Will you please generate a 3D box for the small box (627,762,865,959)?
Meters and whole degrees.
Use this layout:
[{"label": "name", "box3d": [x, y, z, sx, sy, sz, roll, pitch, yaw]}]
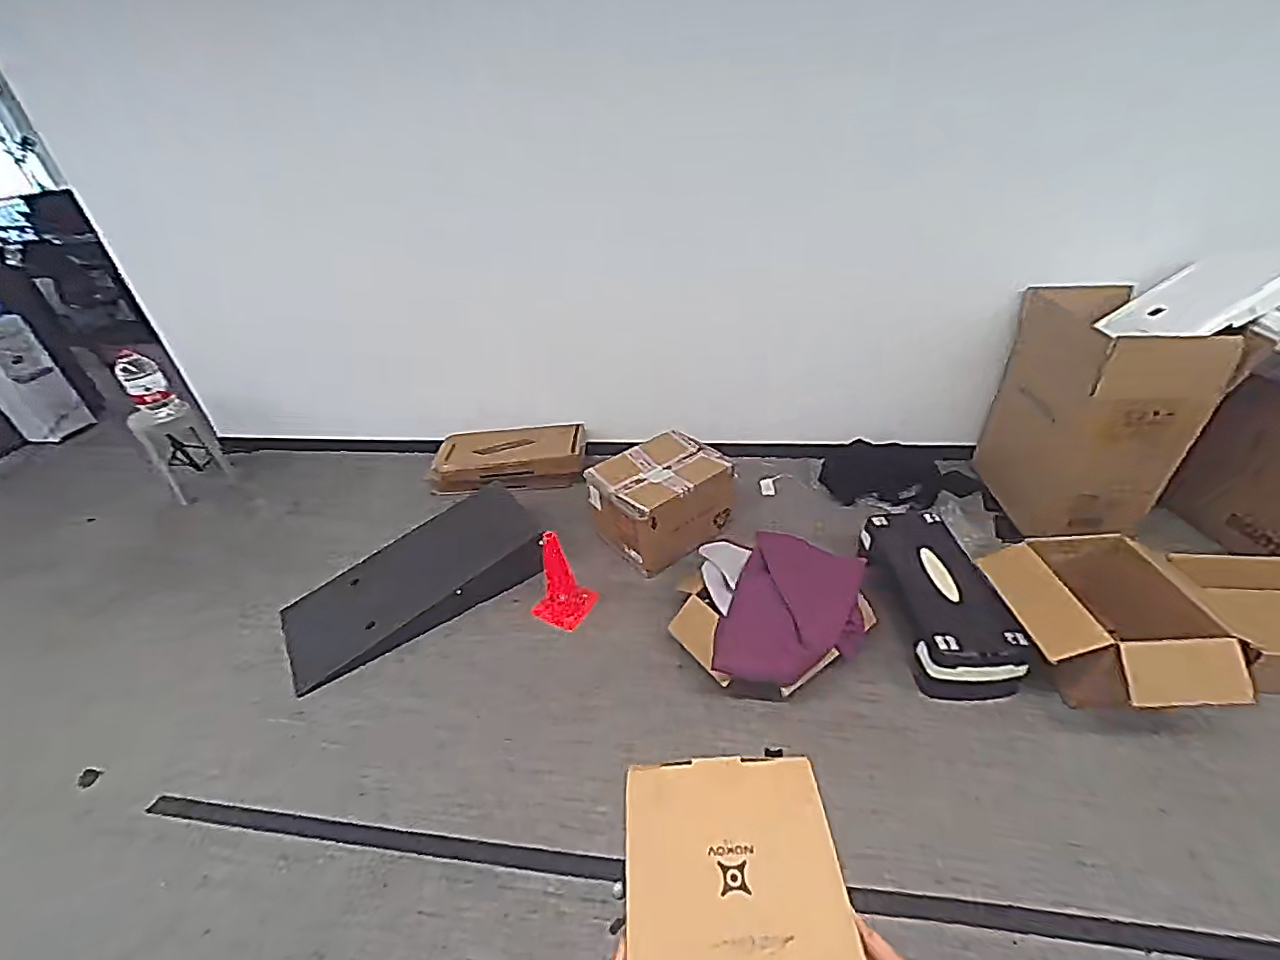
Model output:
[{"label": "small box", "box3d": [0.075, 0.369, 0.455, 0.168, 0.176, 0.179, -3, 35, 1]}]
